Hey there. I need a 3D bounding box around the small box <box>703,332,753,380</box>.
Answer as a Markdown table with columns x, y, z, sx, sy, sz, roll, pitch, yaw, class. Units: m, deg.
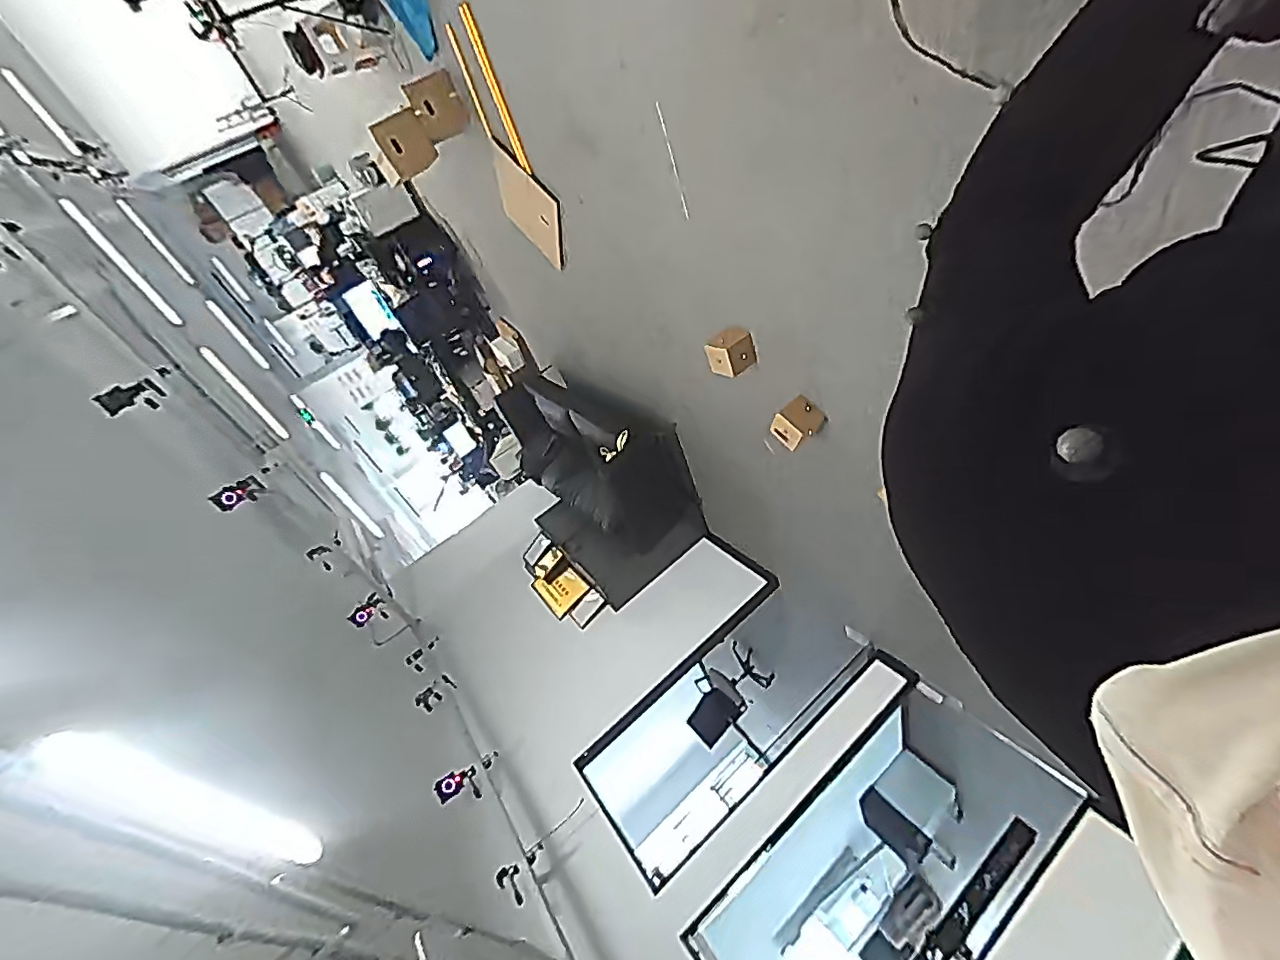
| x | y | z | sx | sy | sz | roll | pitch | yaw | class |
| --- | --- | --- | --- | --- | --- | --- | --- | --- | --- |
| 0.453 | -0.636 | 2.747 | 0.179 | 0.176 | 0.168 | 32 | 153 | 50 | small box |
